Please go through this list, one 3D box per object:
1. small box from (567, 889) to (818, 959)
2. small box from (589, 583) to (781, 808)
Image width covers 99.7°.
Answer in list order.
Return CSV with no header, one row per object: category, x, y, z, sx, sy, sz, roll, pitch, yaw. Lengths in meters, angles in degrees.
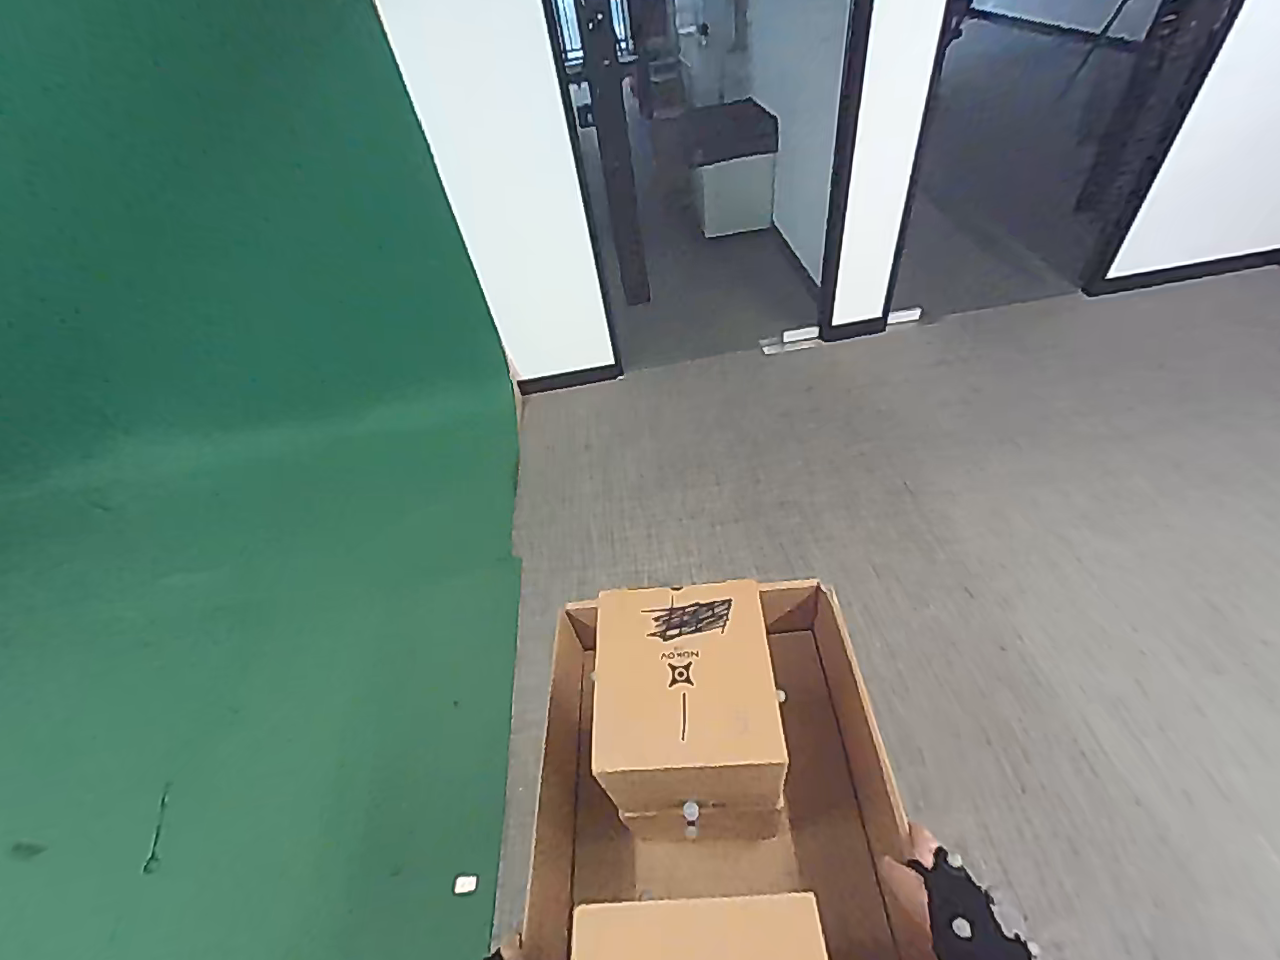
small box,0.046,0.416,0.397,0.179,0.176,0.168,-6,47,4
small box,0.047,0.228,0.569,0.168,0.176,0.179,-4,49,6
